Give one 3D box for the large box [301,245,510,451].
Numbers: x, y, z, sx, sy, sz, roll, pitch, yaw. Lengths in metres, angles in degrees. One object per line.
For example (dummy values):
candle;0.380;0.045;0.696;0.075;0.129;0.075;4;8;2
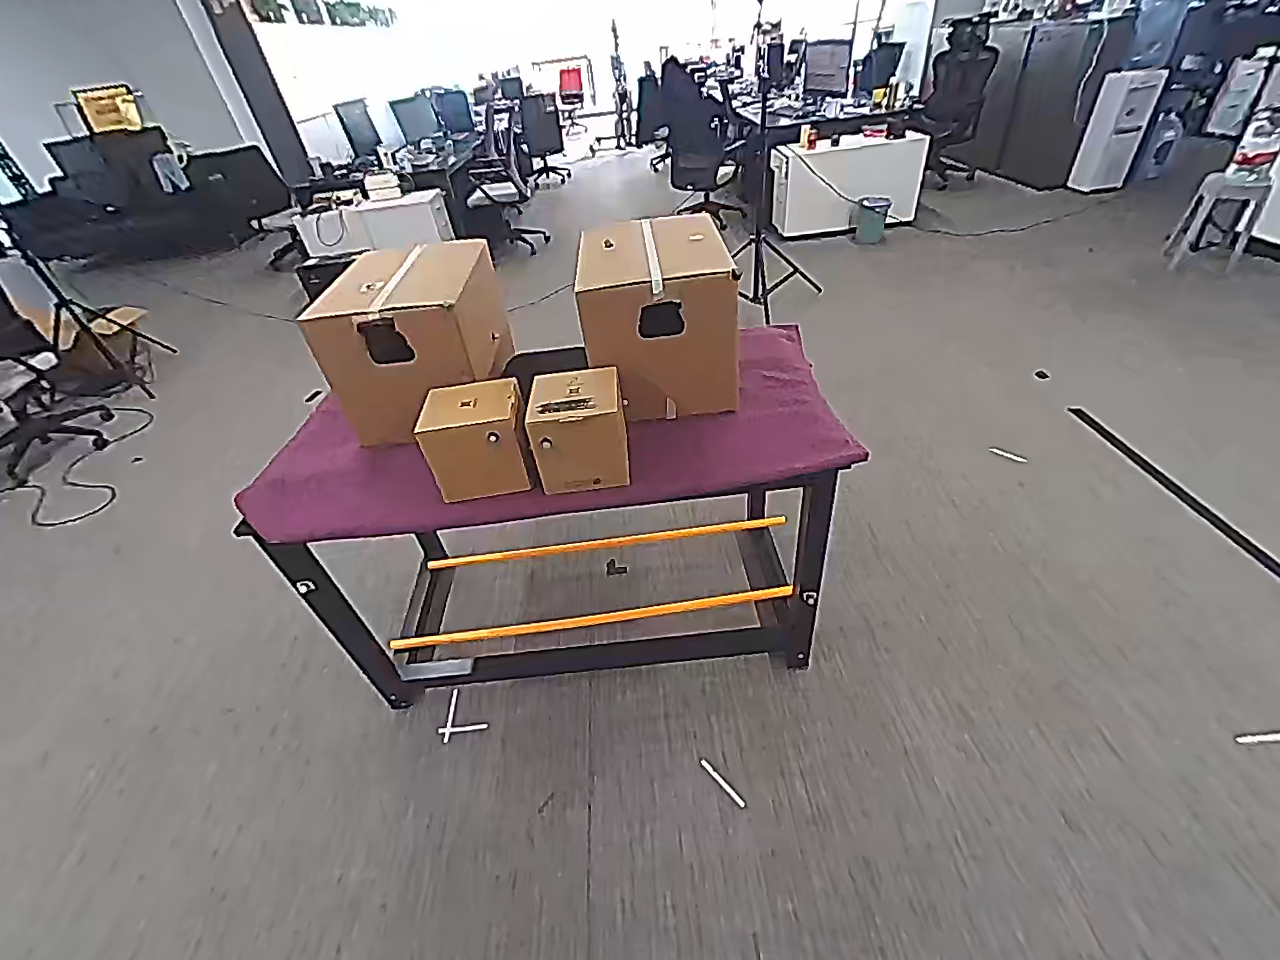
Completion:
large box;-0.512;-0.324;1.291;0.320;0.320;0.408;-7;42;1
